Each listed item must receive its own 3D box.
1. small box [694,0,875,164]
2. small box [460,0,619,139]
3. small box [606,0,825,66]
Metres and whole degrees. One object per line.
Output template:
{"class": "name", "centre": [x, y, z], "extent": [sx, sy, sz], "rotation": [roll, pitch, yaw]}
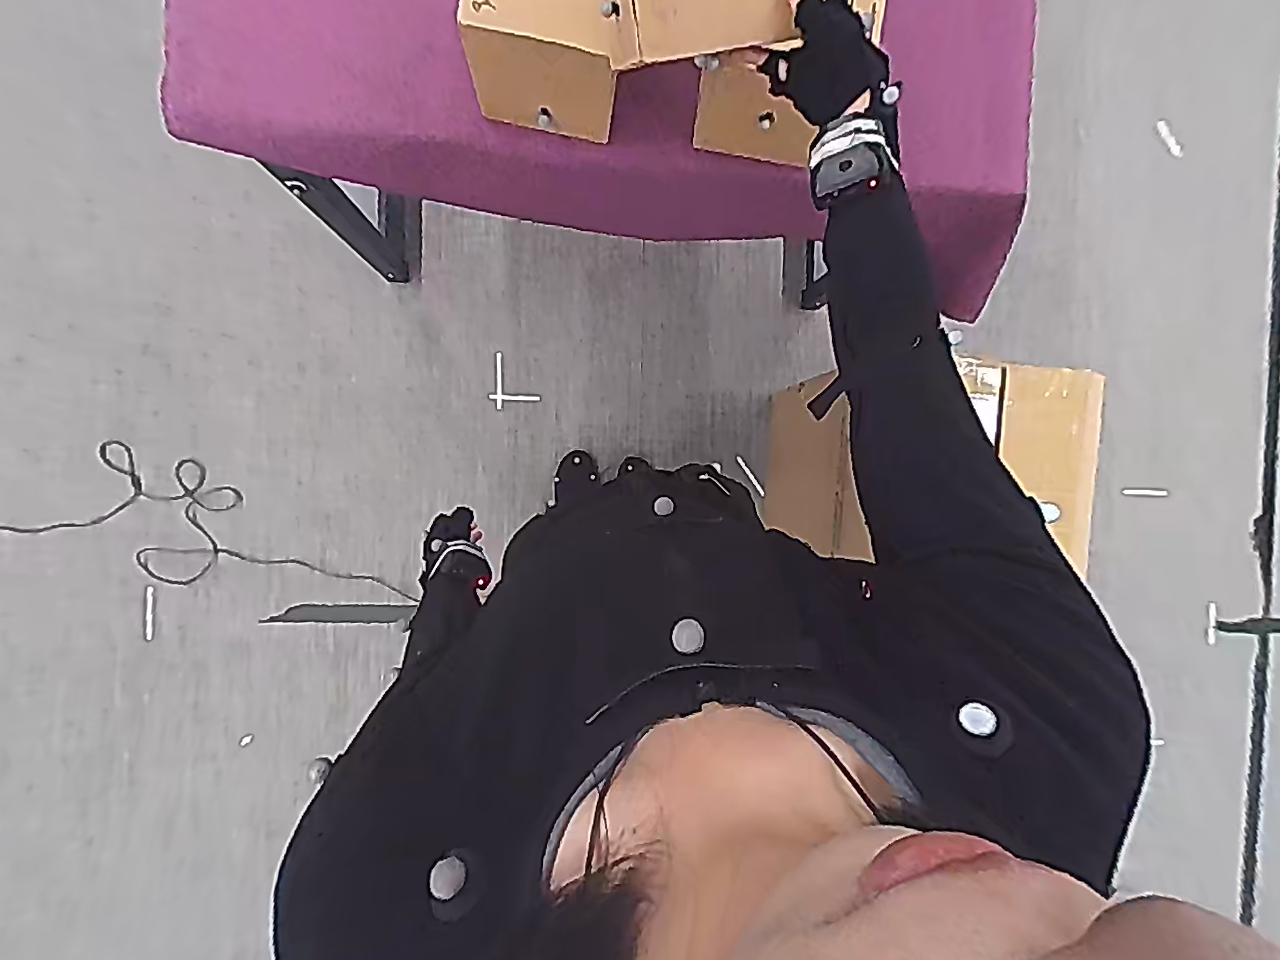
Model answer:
{"class": "small box", "centre": [0.180, -0.547, 0.708], "extent": [0.179, 0.176, 0.168], "rotation": [7, 90, -5]}
{"class": "small box", "centre": [-0.109, -0.565, 0.677], "extent": [0.179, 0.176, 0.168], "rotation": [8, 90, -7]}
{"class": "small box", "centre": [0.057, -0.500, 0.503], "extent": [0.179, 0.176, 0.168], "rotation": [-14, 129, -5]}
